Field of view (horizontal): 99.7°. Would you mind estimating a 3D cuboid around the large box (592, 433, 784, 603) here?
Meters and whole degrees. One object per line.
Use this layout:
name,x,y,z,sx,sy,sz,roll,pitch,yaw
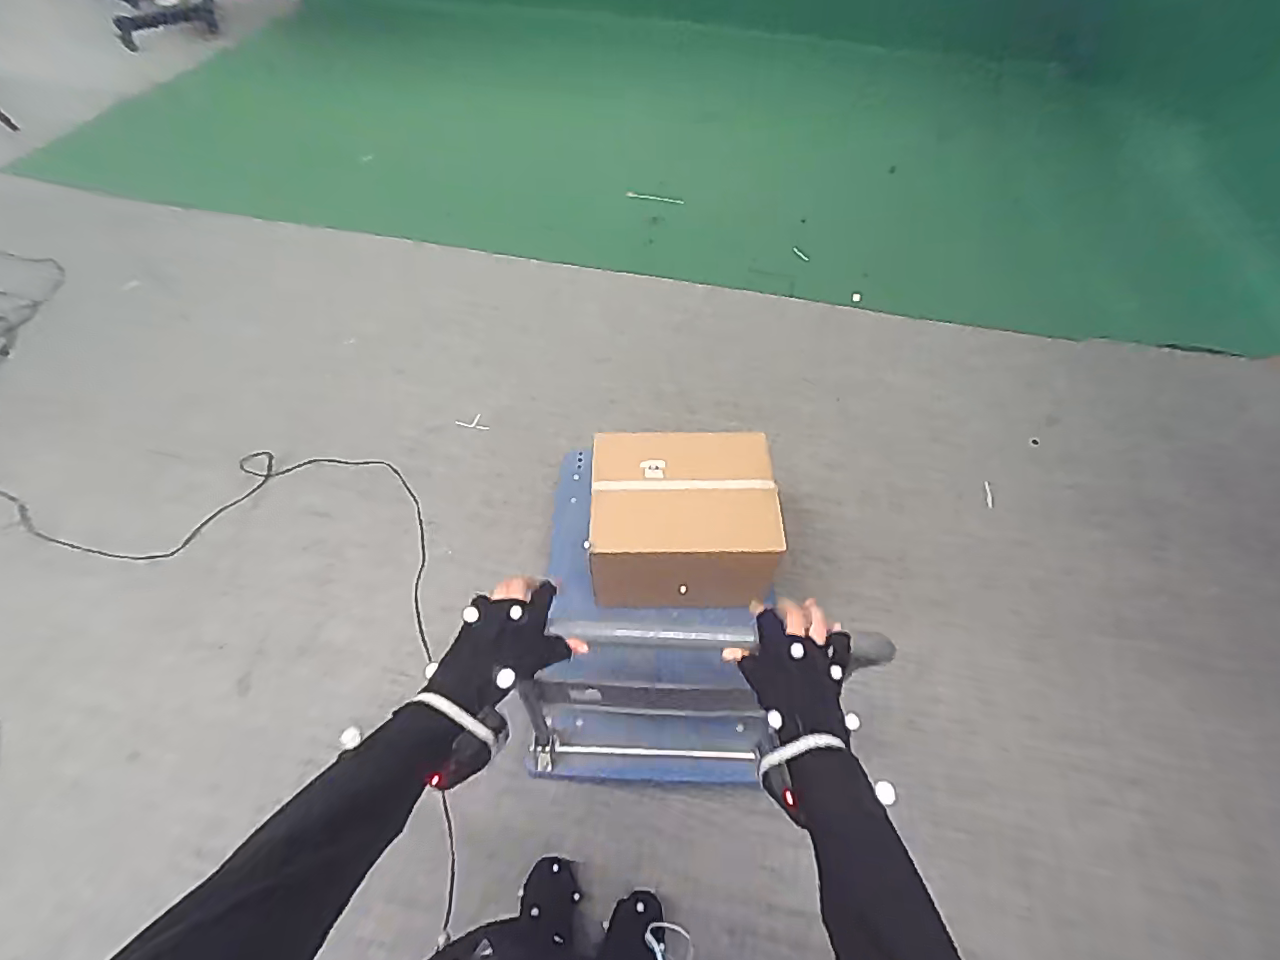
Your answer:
large box,0.099,0.101,1.316,0.408,0.320,0.320,0,55,-1
